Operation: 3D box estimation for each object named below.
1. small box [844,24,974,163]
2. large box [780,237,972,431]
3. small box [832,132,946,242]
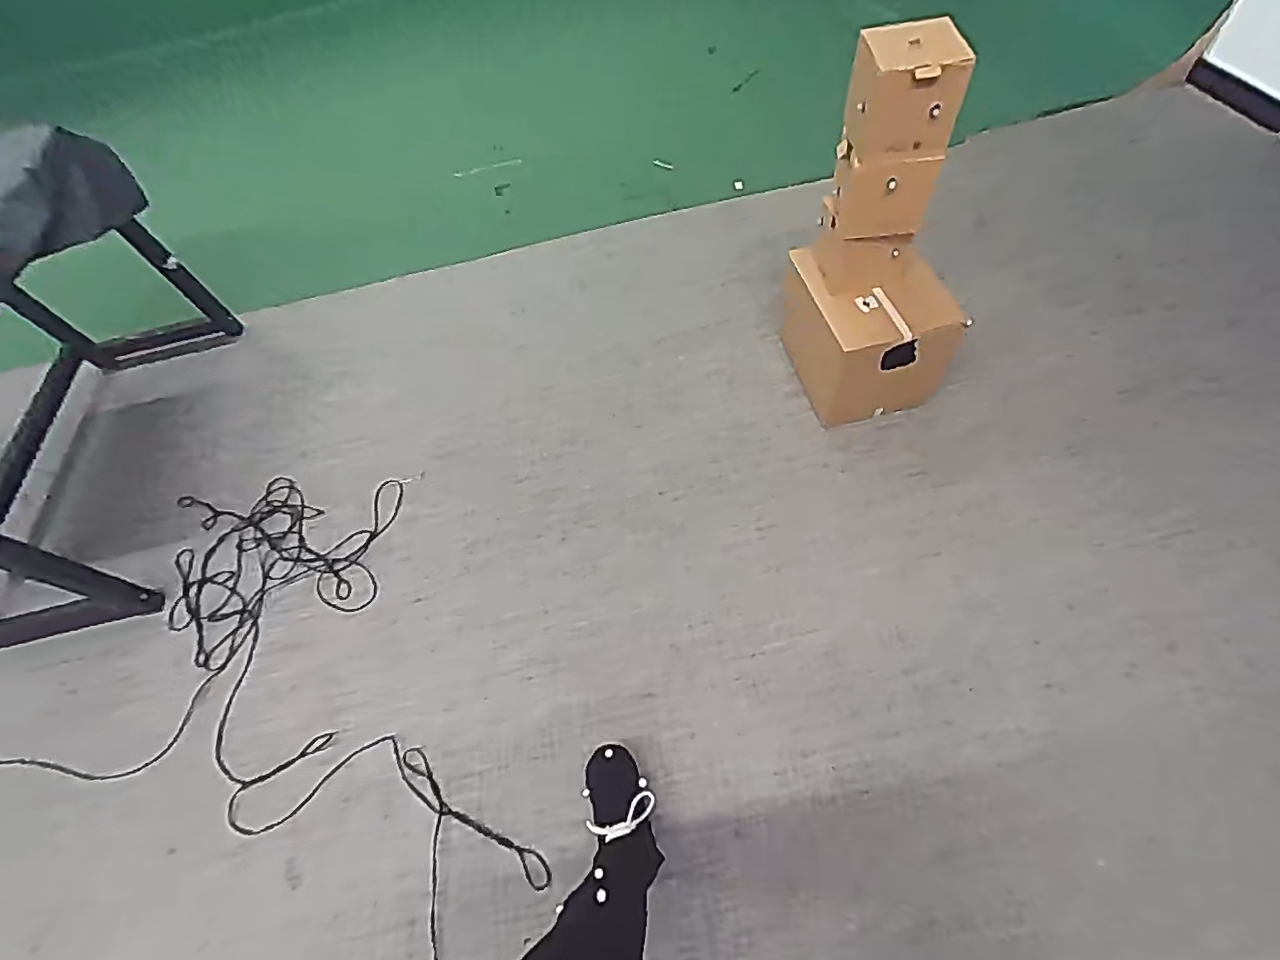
[{"bbox_3d":[0.514,-0.748,1.062,0.168,0.176,0.179,-4,58,5],"label":"small box"},{"bbox_3d":[0.618,-0.409,1.511,0.320,0.320,0.408,-15,59,1],"label":"large box"},{"bbox_3d":[0.537,-0.653,1.193,0.179,0.176,0.168,-2,59,8],"label":"small box"}]
